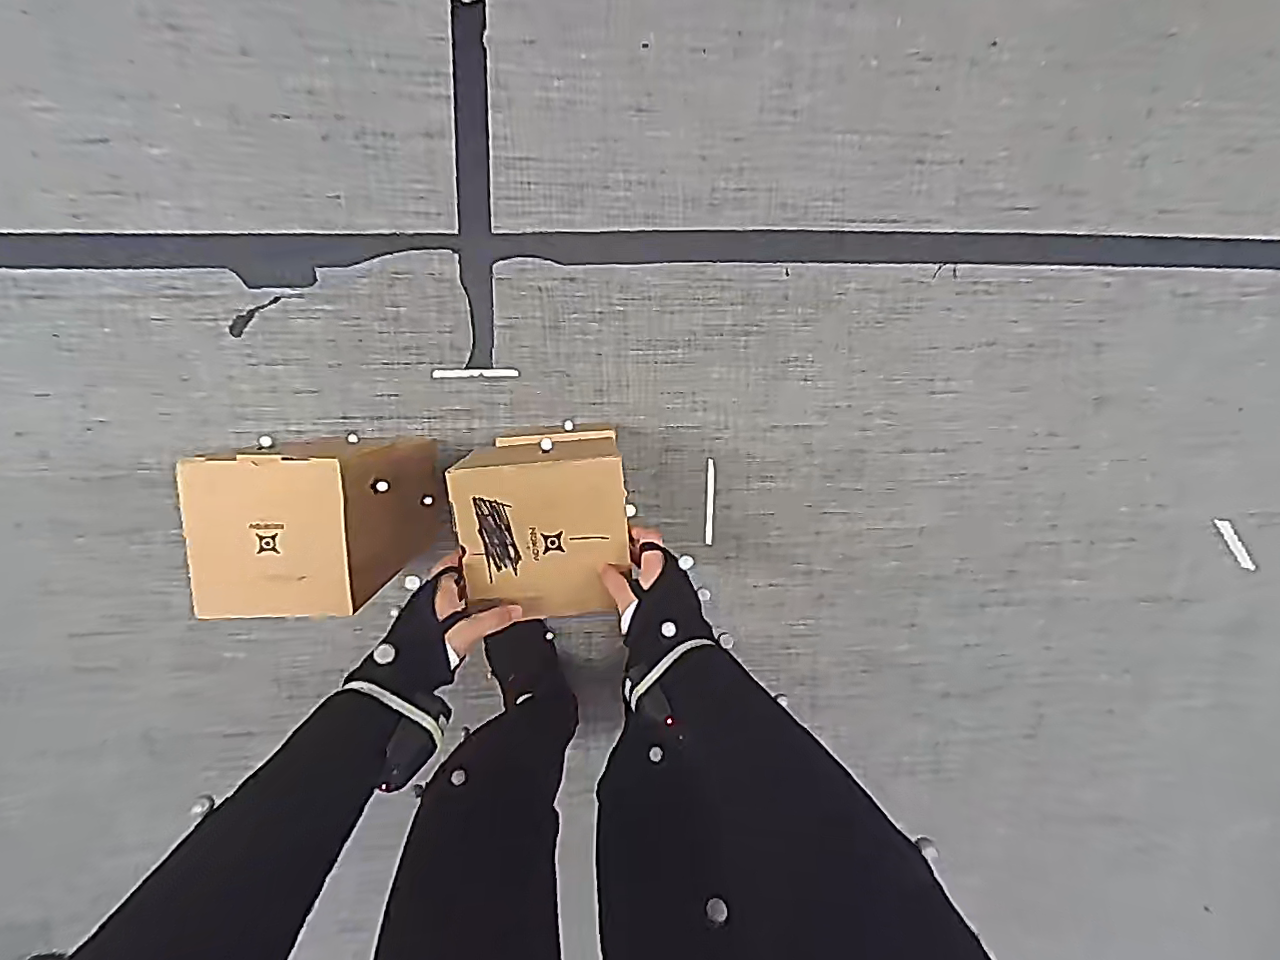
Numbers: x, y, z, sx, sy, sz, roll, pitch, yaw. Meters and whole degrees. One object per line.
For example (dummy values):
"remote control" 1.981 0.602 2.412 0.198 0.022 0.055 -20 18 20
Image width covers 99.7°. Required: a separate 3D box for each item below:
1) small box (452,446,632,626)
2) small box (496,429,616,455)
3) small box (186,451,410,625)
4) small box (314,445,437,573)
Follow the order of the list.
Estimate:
"small box" -0.107 0.055 0.643 0.179 0.176 0.168 -5 102 -5
"small box" -0.117 0.019 0.838 0.168 0.176 0.179 -4 100 -4
"small box" -0.394 0.058 0.656 0.168 0.176 0.179 0 100 -3
"small box" -0.414 0.036 0.816 0.179 0.176 0.168 1 99 -4
